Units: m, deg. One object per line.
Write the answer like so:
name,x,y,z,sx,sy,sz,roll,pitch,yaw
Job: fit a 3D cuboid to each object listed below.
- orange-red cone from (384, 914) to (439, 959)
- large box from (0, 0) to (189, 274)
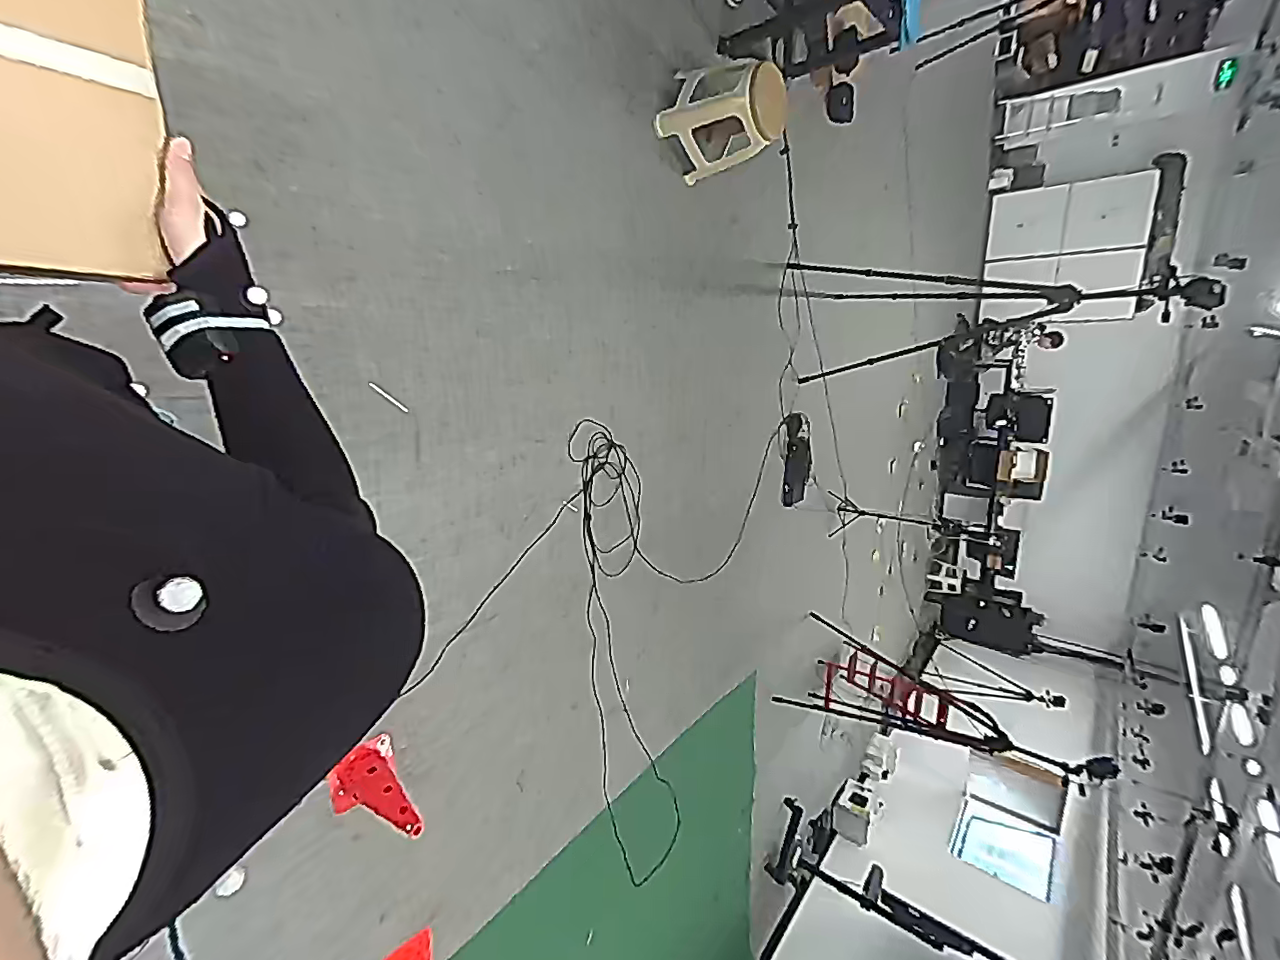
orange-red cone,-0.732,1.788,1.923,0.199,0.360,0.198,-9,107,-51
large box,-0.659,-0.342,0.417,0.408,0.320,0.320,-14,114,-47
